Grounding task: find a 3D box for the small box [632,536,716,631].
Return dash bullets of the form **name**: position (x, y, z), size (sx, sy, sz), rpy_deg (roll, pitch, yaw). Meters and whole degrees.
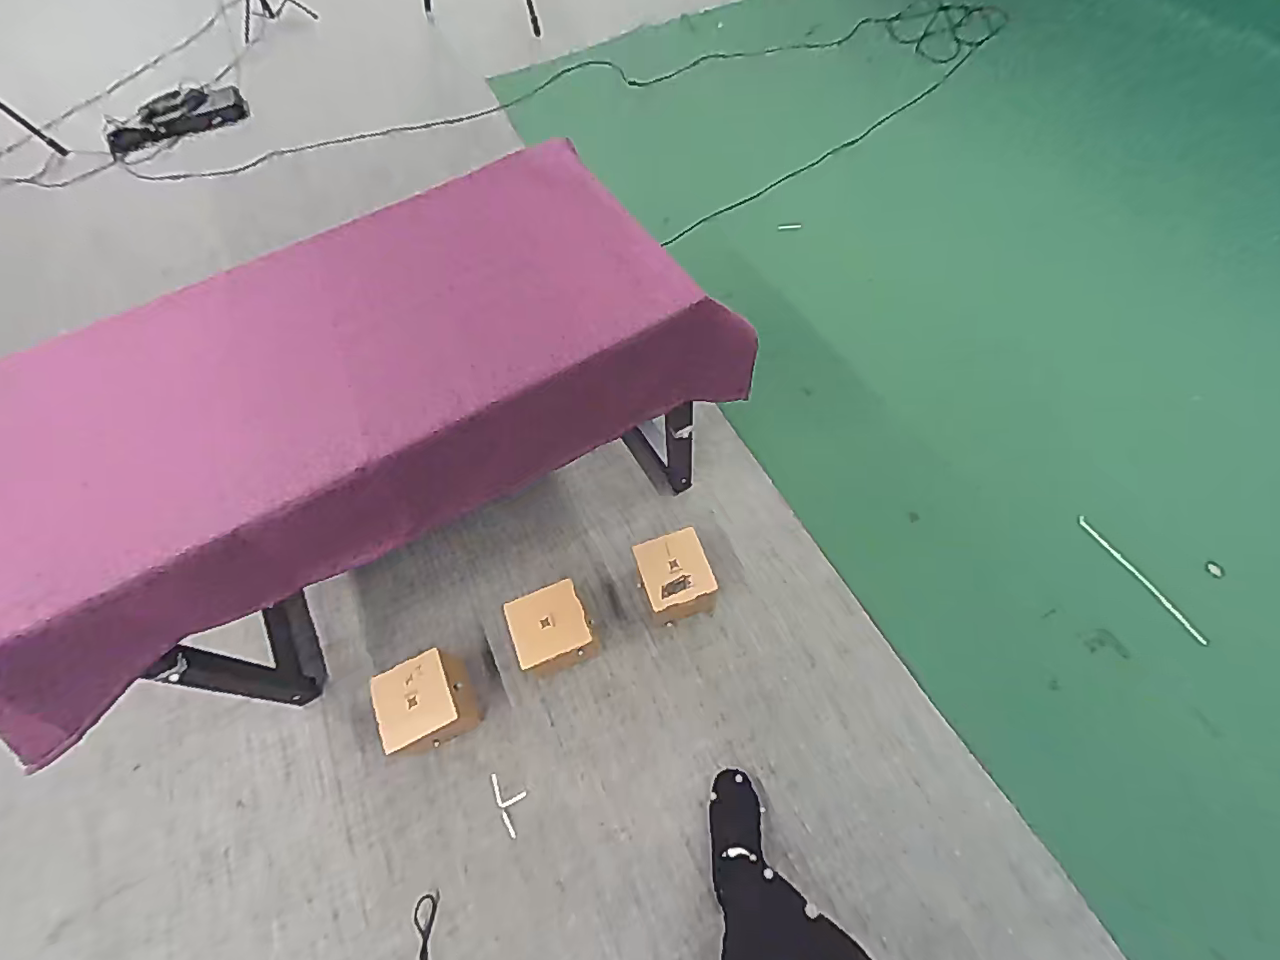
- **small box**: position (0.088, 0.273, 1.381), size (0.168, 0.176, 0.179), rpy_deg (-18, 60, -5)
